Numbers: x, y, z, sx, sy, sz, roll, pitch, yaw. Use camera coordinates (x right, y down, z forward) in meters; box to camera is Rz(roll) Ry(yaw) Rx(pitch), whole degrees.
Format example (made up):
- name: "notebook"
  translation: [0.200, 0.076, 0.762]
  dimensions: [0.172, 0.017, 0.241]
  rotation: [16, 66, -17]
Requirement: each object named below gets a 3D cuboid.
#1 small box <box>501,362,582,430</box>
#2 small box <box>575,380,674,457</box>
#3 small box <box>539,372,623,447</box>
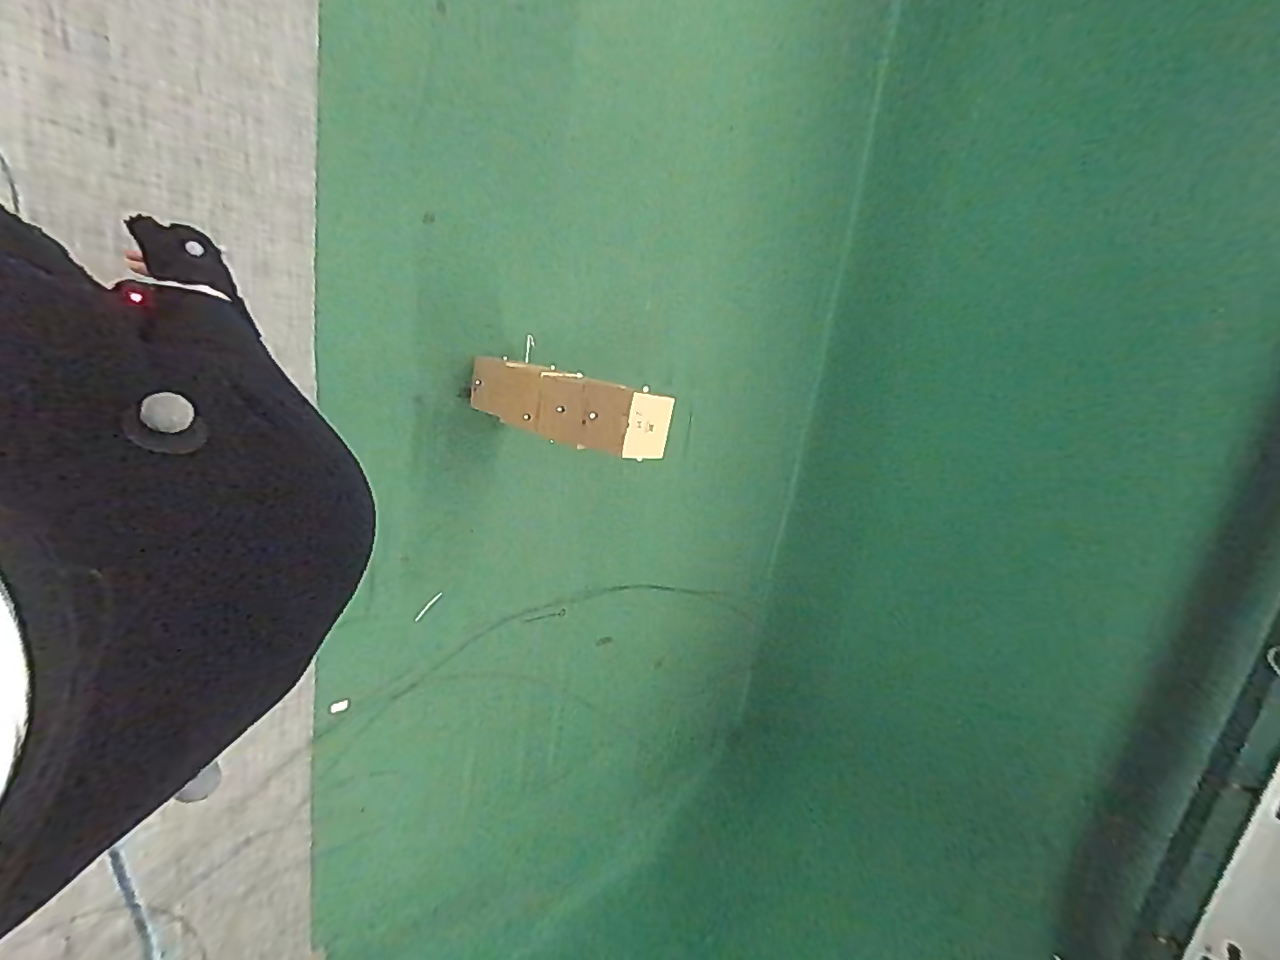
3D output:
- name: "small box"
  translation: [-0.296, -0.252, 1.613]
  dimensions: [0.168, 0.176, 0.179]
  rotation: [-7, 112, -49]
- name: "small box"
  translation: [-0.042, -0.163, 1.424]
  dimensions: [0.179, 0.176, 0.168]
  rotation: [-1, 107, -51]
- name: "small box"
  translation: [-0.168, -0.201, 1.523]
  dimensions: [0.168, 0.176, 0.179]
  rotation: [-9, 113, -49]
